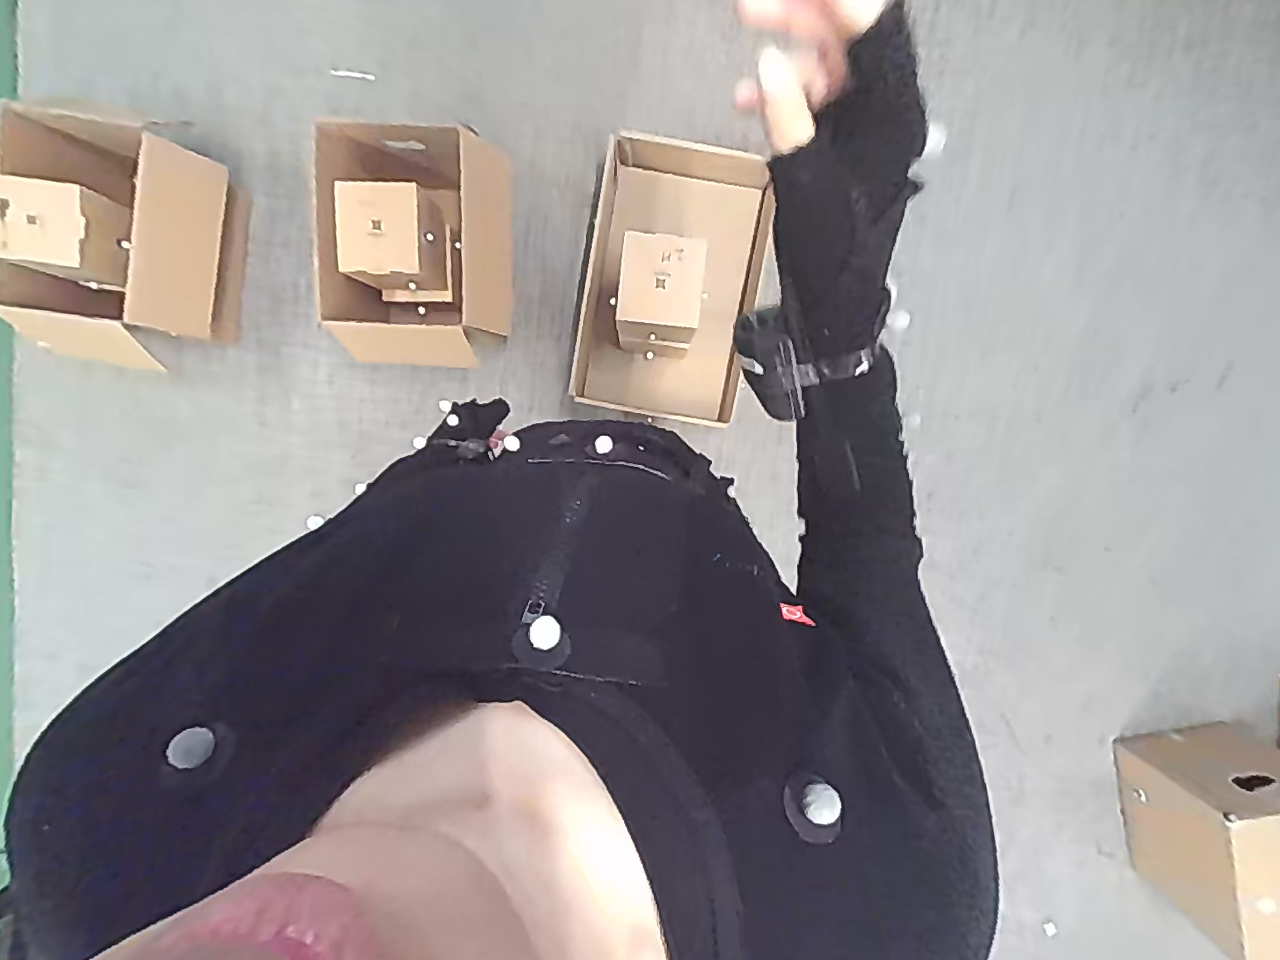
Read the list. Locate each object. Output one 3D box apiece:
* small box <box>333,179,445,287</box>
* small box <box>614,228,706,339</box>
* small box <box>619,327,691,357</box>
[{"bbox_3d":[-0.526,-0.518,1.157,0.168,0.176,0.179,1,97,0],"label":"small box"},{"bbox_3d":[0.040,-0.401,1.132,0.168,0.176,0.179,6,94,-1],"label":"small box"},{"bbox_3d":[0.043,-0.405,1.296,0.168,0.176,0.179,9,94,-1],"label":"small box"}]
